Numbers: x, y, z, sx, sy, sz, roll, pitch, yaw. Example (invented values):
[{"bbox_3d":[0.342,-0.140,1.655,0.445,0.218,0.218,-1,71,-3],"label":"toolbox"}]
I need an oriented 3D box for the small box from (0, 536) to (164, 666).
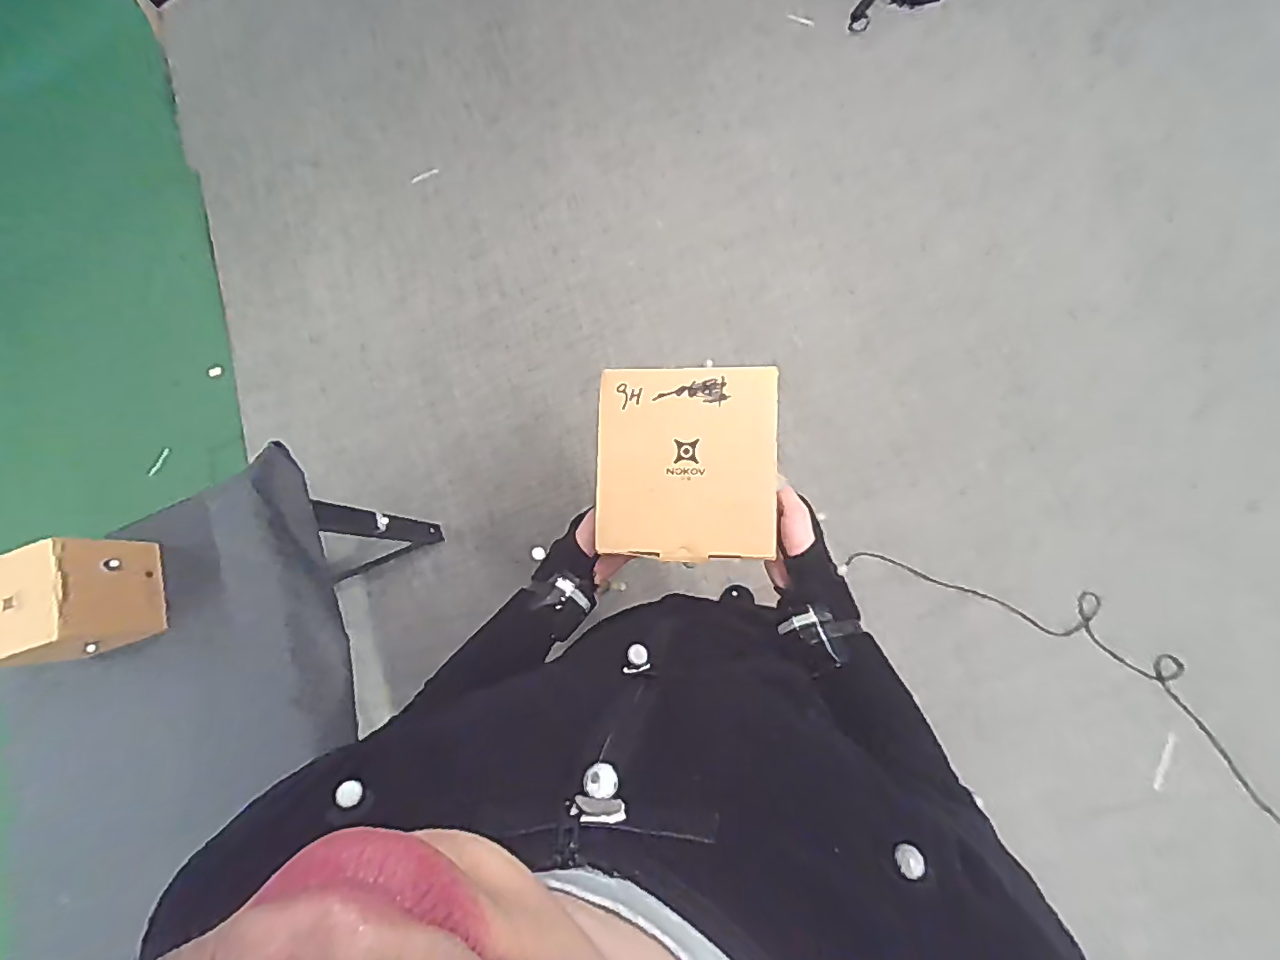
[{"bbox_3d":[-0.956,0.205,0.918,0.179,0.176,0.168,-19,75,6],"label":"small box"}]

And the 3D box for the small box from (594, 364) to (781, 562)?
[{"bbox_3d":[0.054,-0.013,0.562,0.168,0.176,0.179,1,86,8],"label":"small box"}]
